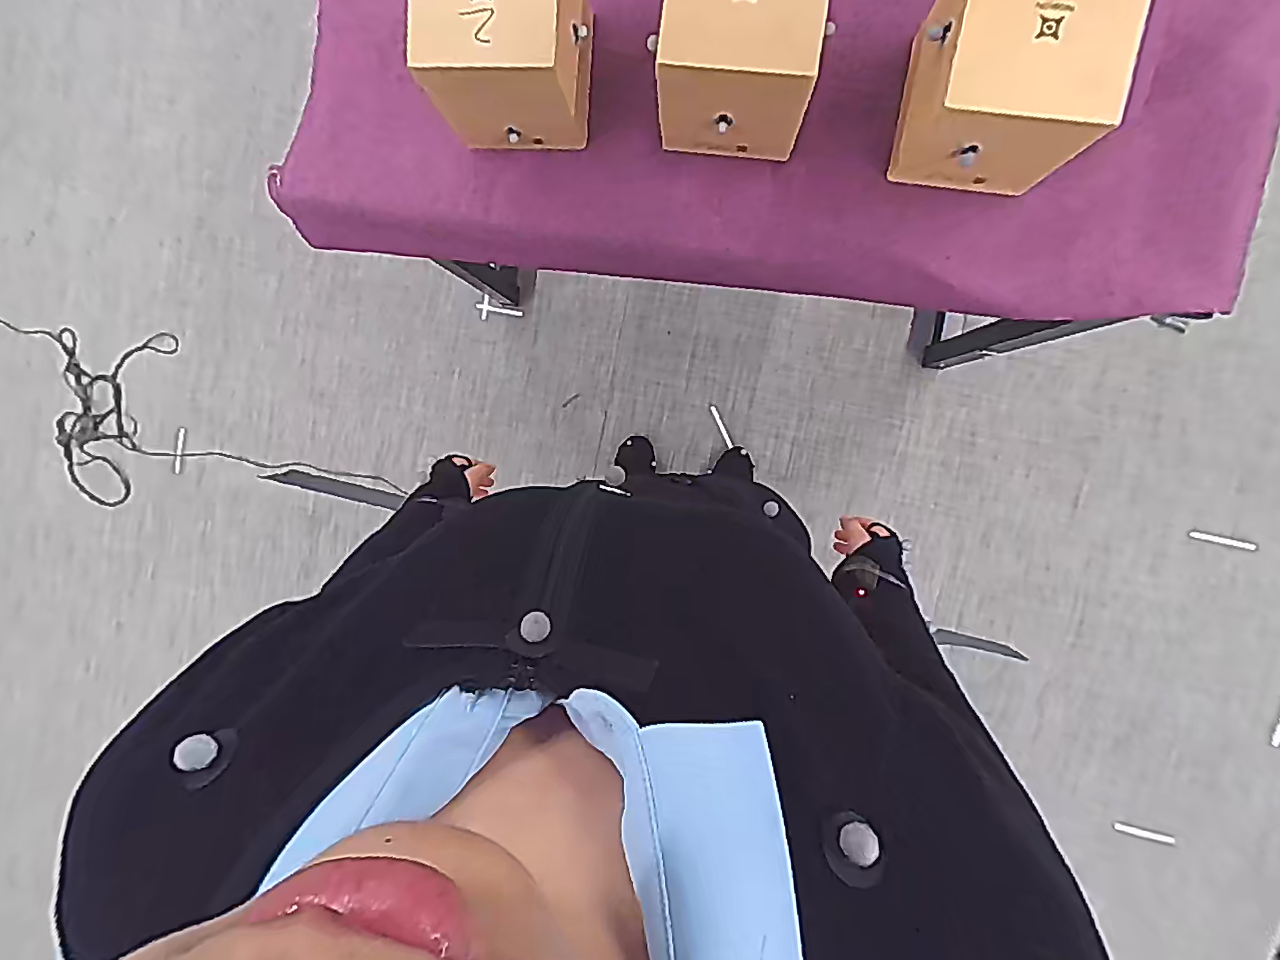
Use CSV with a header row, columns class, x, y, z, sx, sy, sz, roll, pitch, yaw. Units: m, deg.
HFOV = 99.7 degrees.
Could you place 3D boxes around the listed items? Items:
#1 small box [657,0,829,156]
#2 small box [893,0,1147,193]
class,x,y,z,sx,sy,sz,roll,pitch,yaw
small box,0.118,-0.507,0.622,0.168,0.176,0.179,9,94,4
small box,0.402,-0.447,0.600,0.168,0.176,0.179,10,96,5
